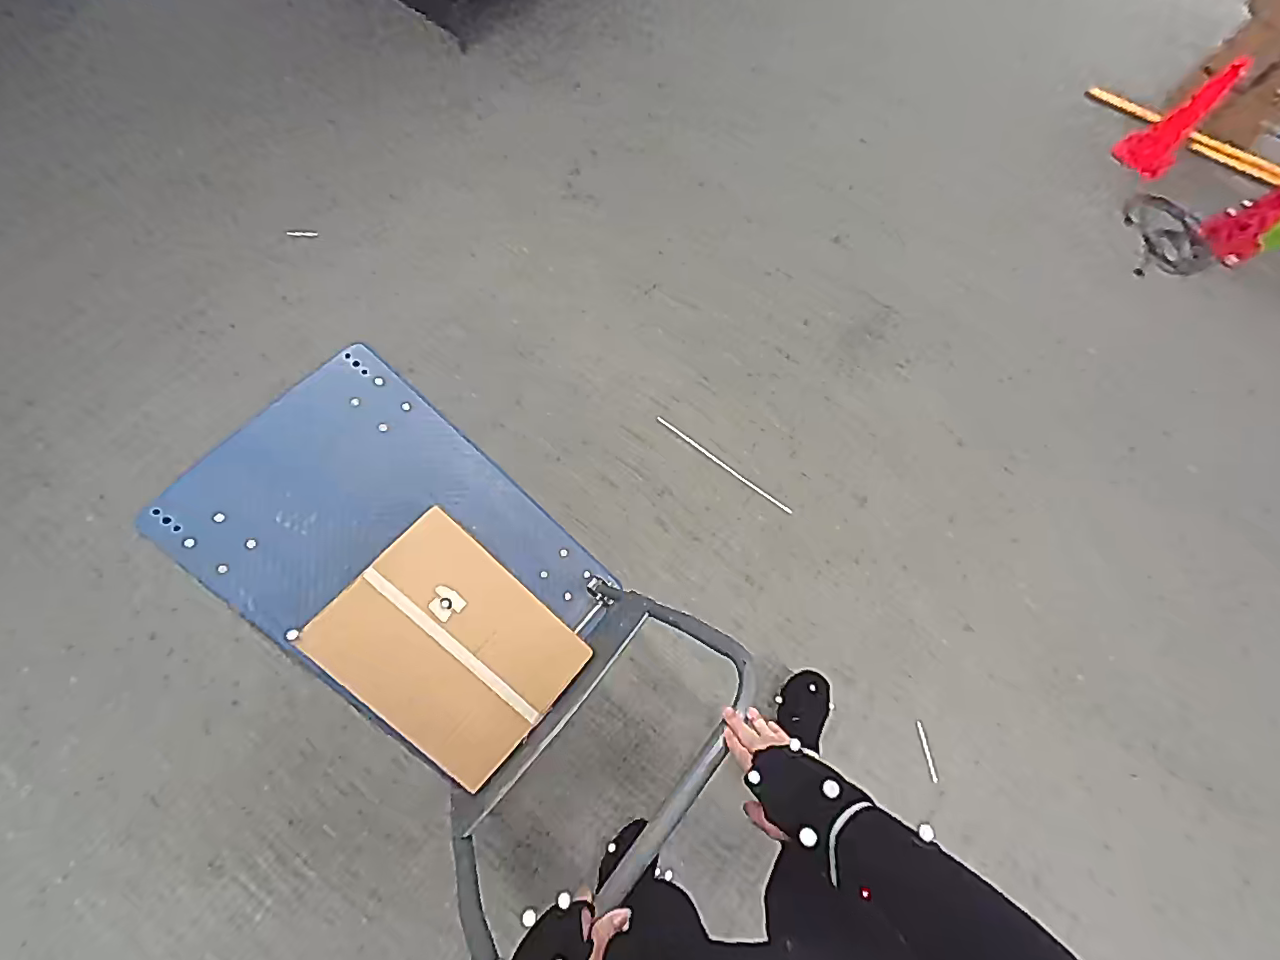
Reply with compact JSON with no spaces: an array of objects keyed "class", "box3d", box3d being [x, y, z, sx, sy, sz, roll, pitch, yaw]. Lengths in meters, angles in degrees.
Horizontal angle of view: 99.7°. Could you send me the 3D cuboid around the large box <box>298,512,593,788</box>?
[{"class":"large box","box3d":[-0.366,0.313,1.092,0.408,0.320,0.320,44,72,-8]}]
